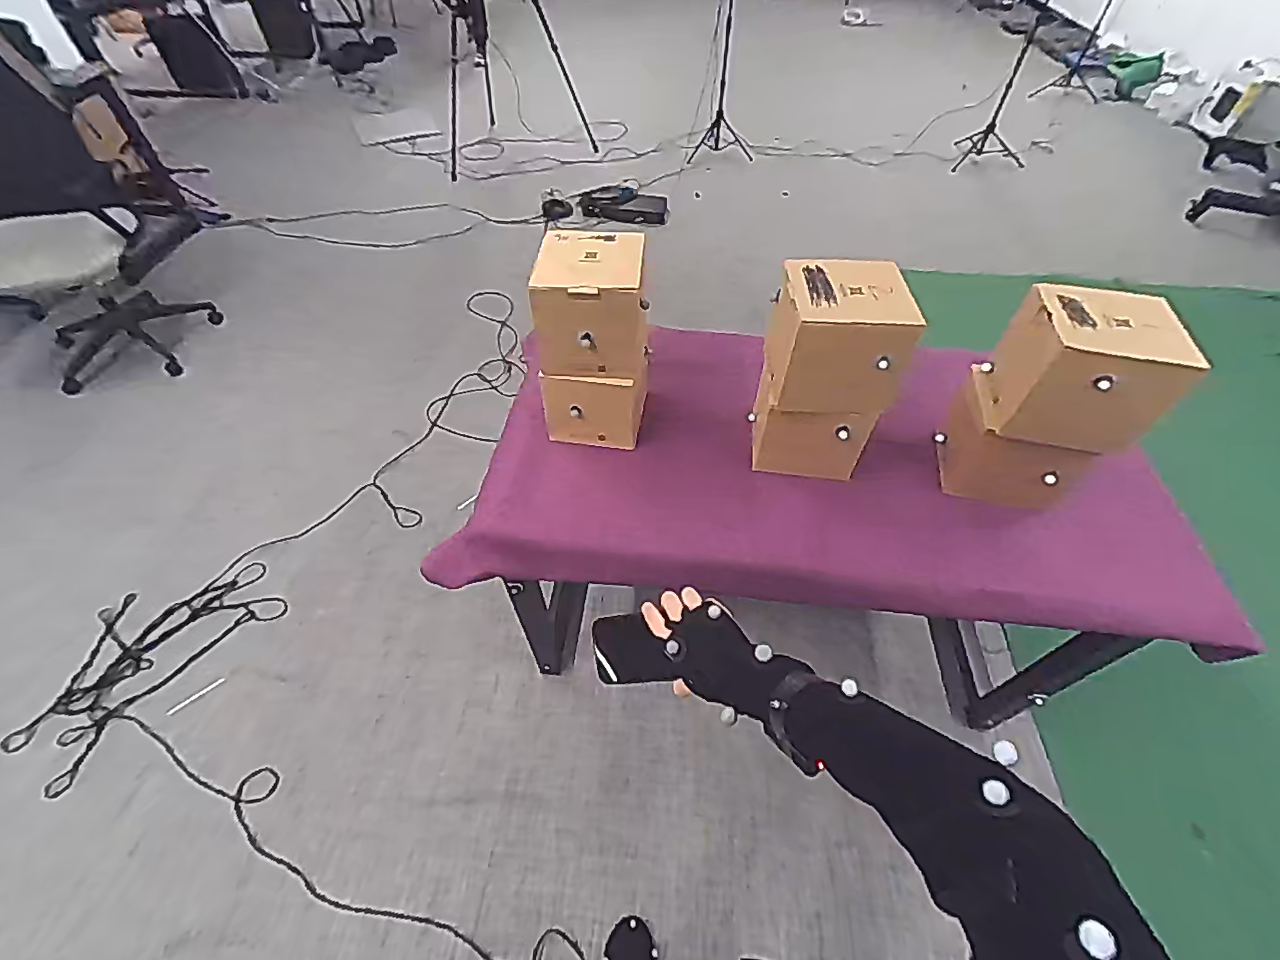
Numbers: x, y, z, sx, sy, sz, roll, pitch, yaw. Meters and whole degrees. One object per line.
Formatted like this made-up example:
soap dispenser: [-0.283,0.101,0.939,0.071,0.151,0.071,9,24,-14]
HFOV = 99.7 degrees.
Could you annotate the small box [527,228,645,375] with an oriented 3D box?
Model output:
small box: [-0.079,-0.295,0.904,0.168,0.176,0.179,4,52,2]

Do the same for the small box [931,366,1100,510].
small box: [0.635,-0.069,0.938,0.179,0.176,0.168,12,52,9]

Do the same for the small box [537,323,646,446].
small box: [-0.082,-0.185,1.026,0.168,0.176,0.179,8,51,6]

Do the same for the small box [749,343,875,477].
small box: [0.301,-0.122,0.977,0.179,0.176,0.168,7,51,5]

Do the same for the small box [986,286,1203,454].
small box: [0.642,-0.159,0.800,0.179,0.176,0.168,12,52,8]
